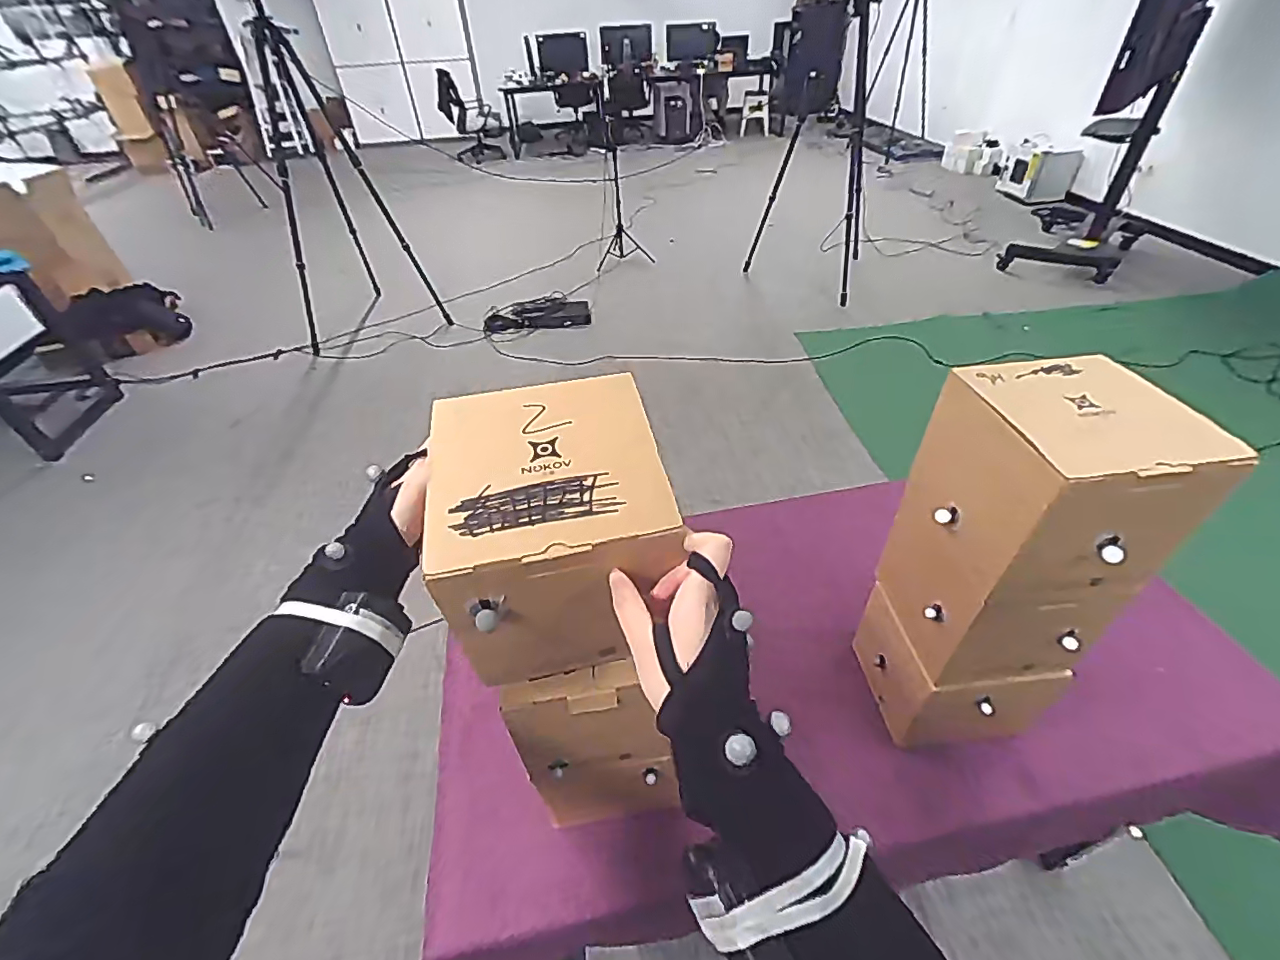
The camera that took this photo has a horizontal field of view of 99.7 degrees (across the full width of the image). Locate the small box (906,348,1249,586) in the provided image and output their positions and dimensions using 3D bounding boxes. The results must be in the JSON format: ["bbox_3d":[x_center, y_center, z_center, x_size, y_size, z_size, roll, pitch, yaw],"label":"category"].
[{"bbox_3d":[0.401,-0.009,0.540,0.168,0.176,0.179,-6,43,-2],"label":"small box"}]

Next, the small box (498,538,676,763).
[{"bbox_3d":[-0.055,0.195,0.608,0.168,0.176,0.179,-8,41,-5],"label":"small box"}]

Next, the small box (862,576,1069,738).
[{"bbox_3d":[0.427,0.240,0.752,0.179,0.176,0.168,-6,43,-1],"label":"small box"}]

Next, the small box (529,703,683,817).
[{"bbox_3d":[-0.043,0.320,0.714,0.179,0.176,0.168,-8,42,-4],"label":"small box"}]

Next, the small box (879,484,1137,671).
[{"bbox_3d":[0.414,0.113,0.650,0.168,0.176,0.179,-5,41,-1],"label":"small box"}]
